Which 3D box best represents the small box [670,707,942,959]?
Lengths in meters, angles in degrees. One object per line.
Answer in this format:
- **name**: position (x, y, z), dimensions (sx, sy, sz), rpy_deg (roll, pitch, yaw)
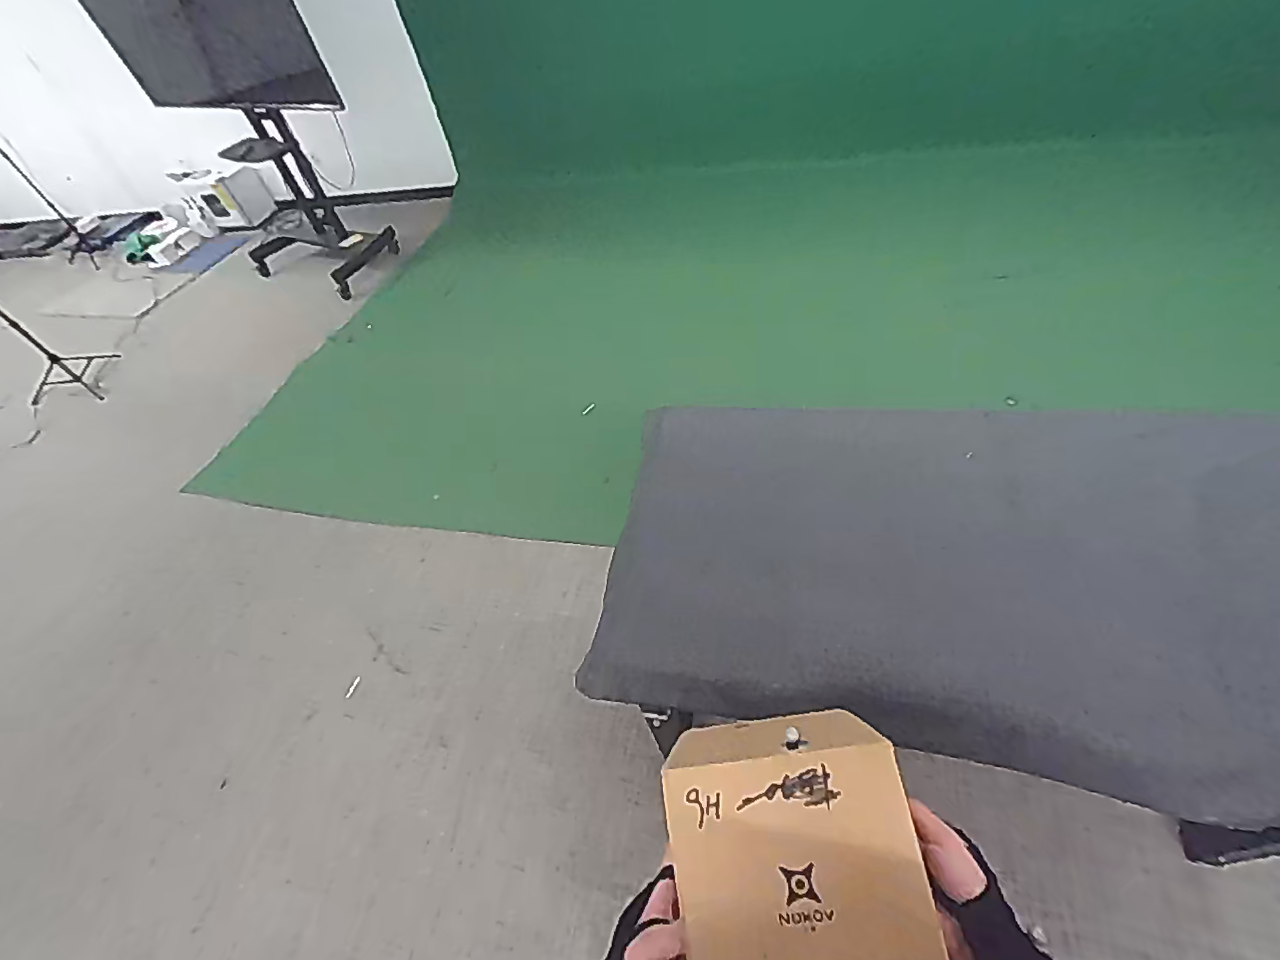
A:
- **small box**: position (0.125, 0.302, 0.449), dimensions (0.168, 0.176, 0.179), rpy_deg (-10, 75, 7)
